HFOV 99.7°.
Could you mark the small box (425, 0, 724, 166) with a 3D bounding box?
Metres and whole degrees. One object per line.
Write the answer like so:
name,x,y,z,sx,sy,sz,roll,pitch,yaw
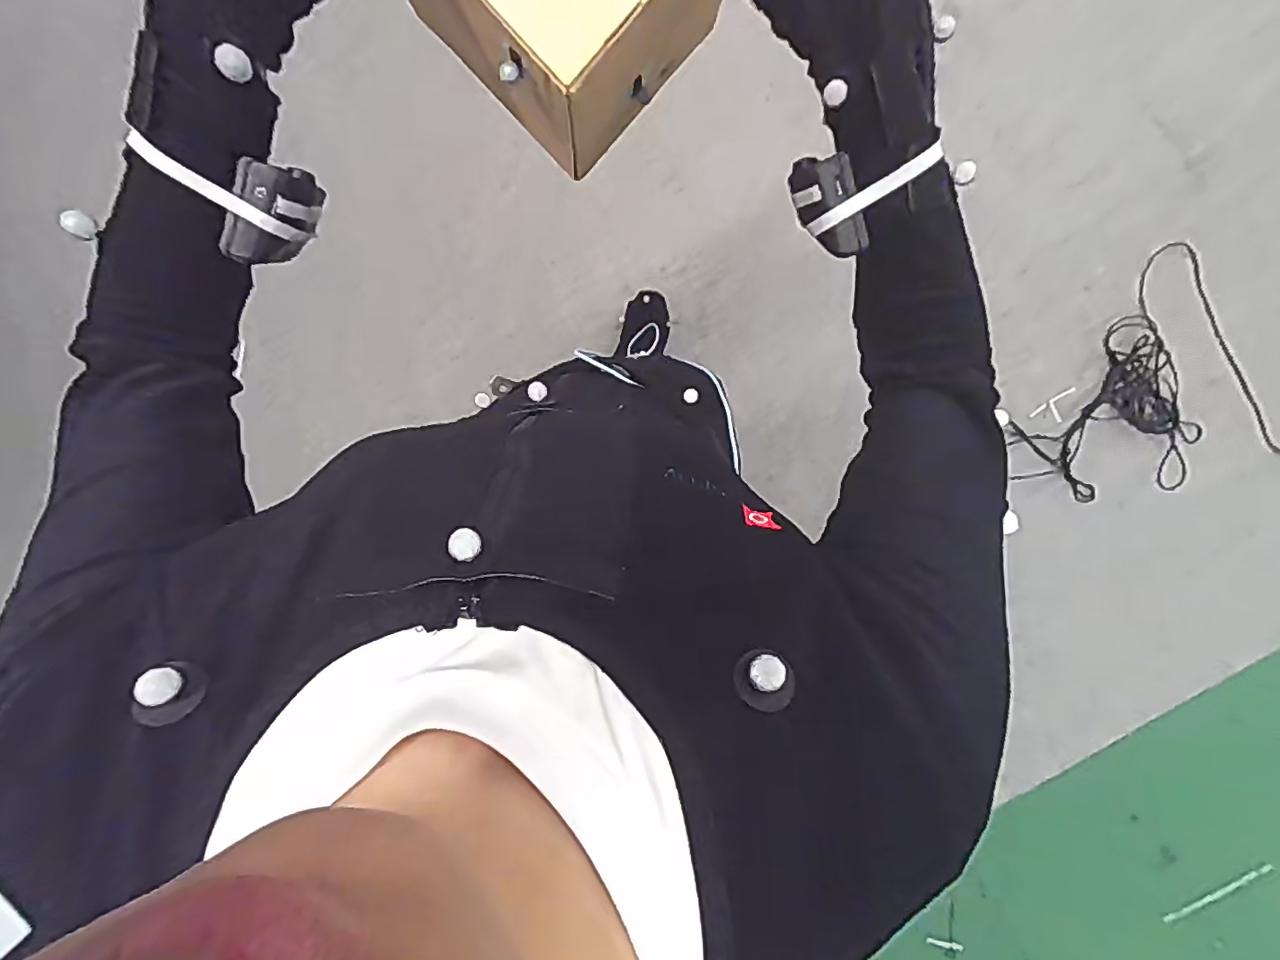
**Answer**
small box,-0.048,-0.355,0.360,0.179,0.176,0.168,43,96,-14
